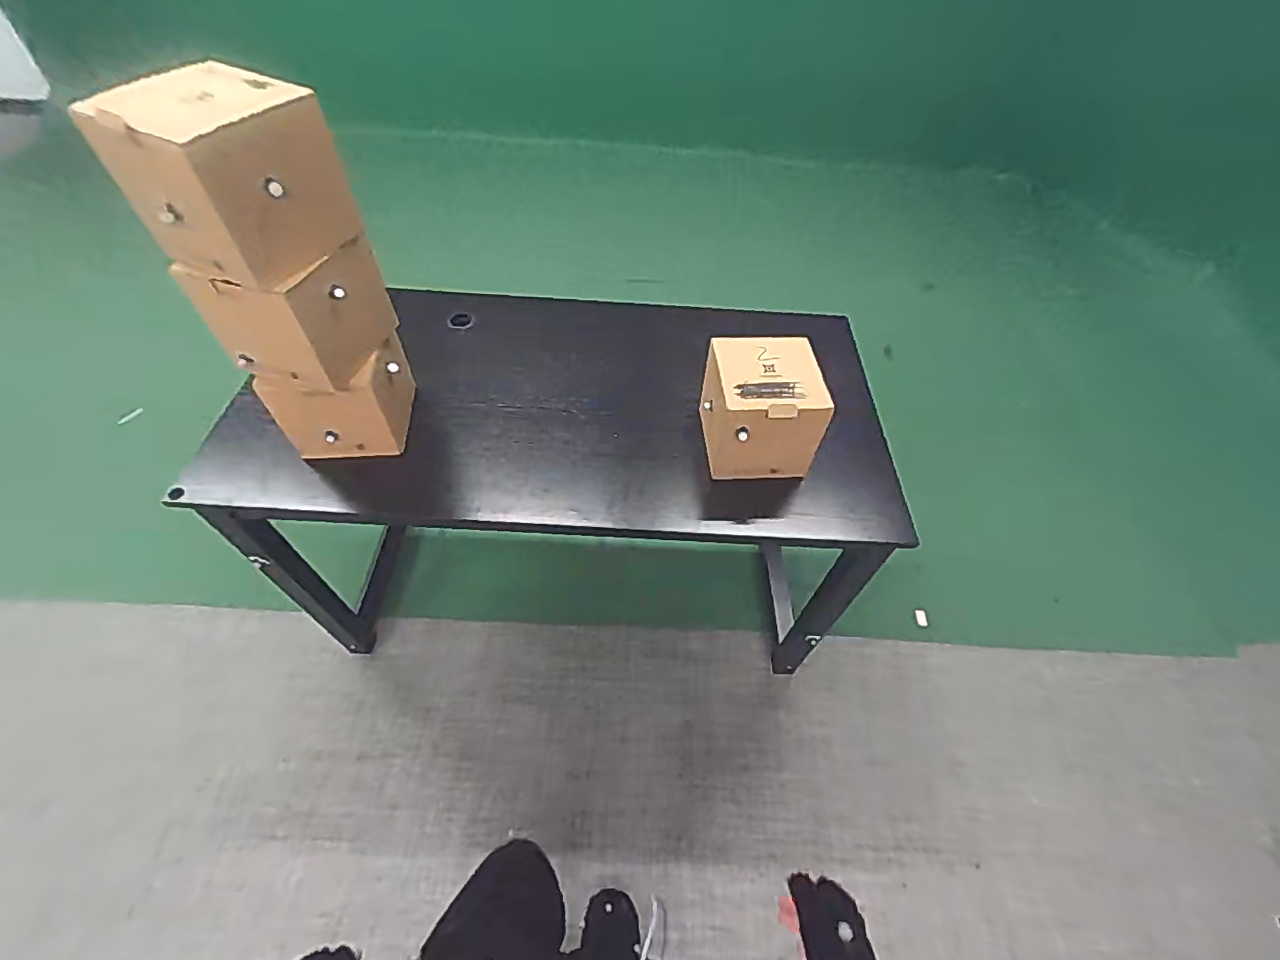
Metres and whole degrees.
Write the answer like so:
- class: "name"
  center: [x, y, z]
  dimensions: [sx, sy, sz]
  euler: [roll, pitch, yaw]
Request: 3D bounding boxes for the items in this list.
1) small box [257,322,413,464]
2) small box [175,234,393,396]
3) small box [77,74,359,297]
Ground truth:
- class: "small box"
  center: [-0.495, -0.146, 0.912]
  dimensions: [0.168, 0.176, 0.179]
  euler: [-3, 54, -7]
- class: "small box"
  center: [-0.490, -0.247, 0.782]
  dimensions: [0.168, 0.176, 0.179]
  euler: [14, 53, 6]
- class: "small box"
  center: [-0.484, -0.352, 0.656]
  dimensions: [0.168, 0.176, 0.179]
  euler: [23, 56, 12]
